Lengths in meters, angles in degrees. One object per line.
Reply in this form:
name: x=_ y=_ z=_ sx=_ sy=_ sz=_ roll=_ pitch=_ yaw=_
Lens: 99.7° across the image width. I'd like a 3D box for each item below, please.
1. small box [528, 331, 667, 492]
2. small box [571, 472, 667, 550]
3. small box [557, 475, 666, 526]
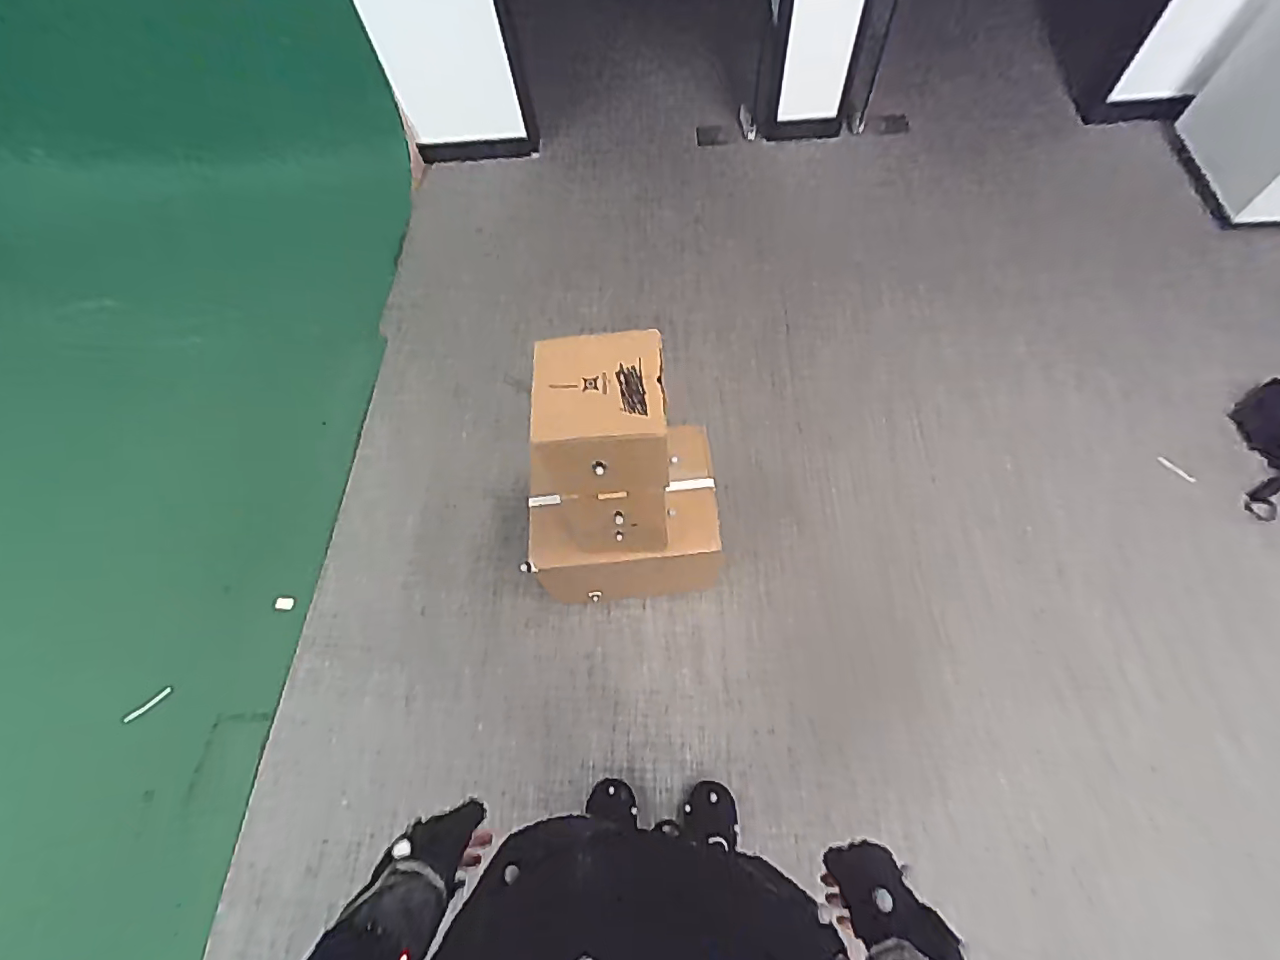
small box: x=-0.051 y=-0.091 z=0.782 sx=0.179 sy=0.176 sz=0.168 roll=-4 pitch=65 yaw=4
small box: x=-0.036 y=0.038 z=1.083 sx=0.179 sy=0.176 sz=0.168 roll=-2 pitch=66 yaw=2
small box: x=-0.045 y=-0.025 z=0.933 sx=0.168 sy=0.176 sz=0.179 roll=-5 pitch=66 yaw=2
